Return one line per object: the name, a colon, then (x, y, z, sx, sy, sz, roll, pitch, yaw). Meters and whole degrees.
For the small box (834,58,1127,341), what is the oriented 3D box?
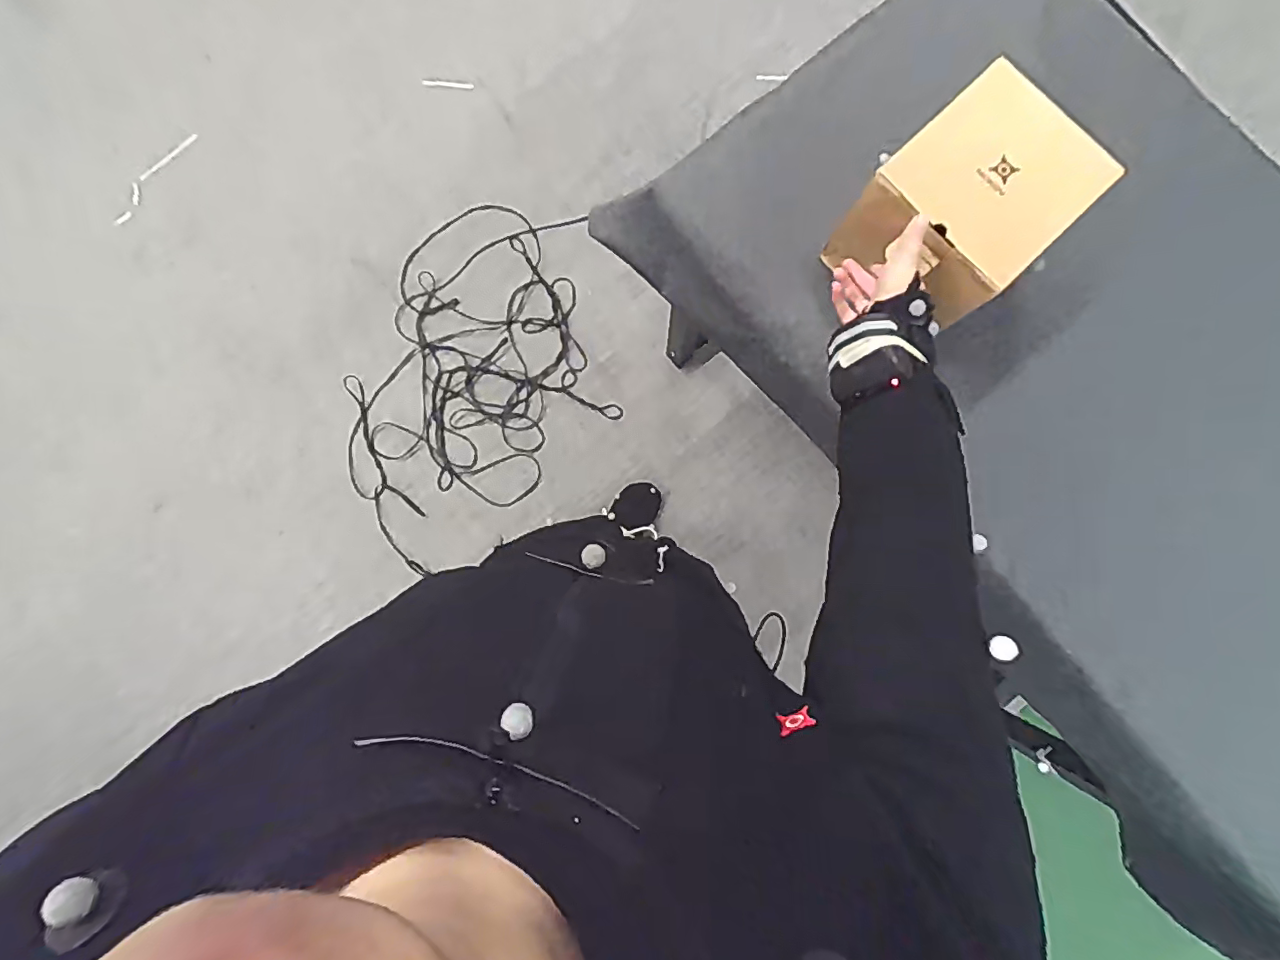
small box: (0.349, -0.288, 0.594, 0.179, 0.176, 0.168, -44, 87, -2)
